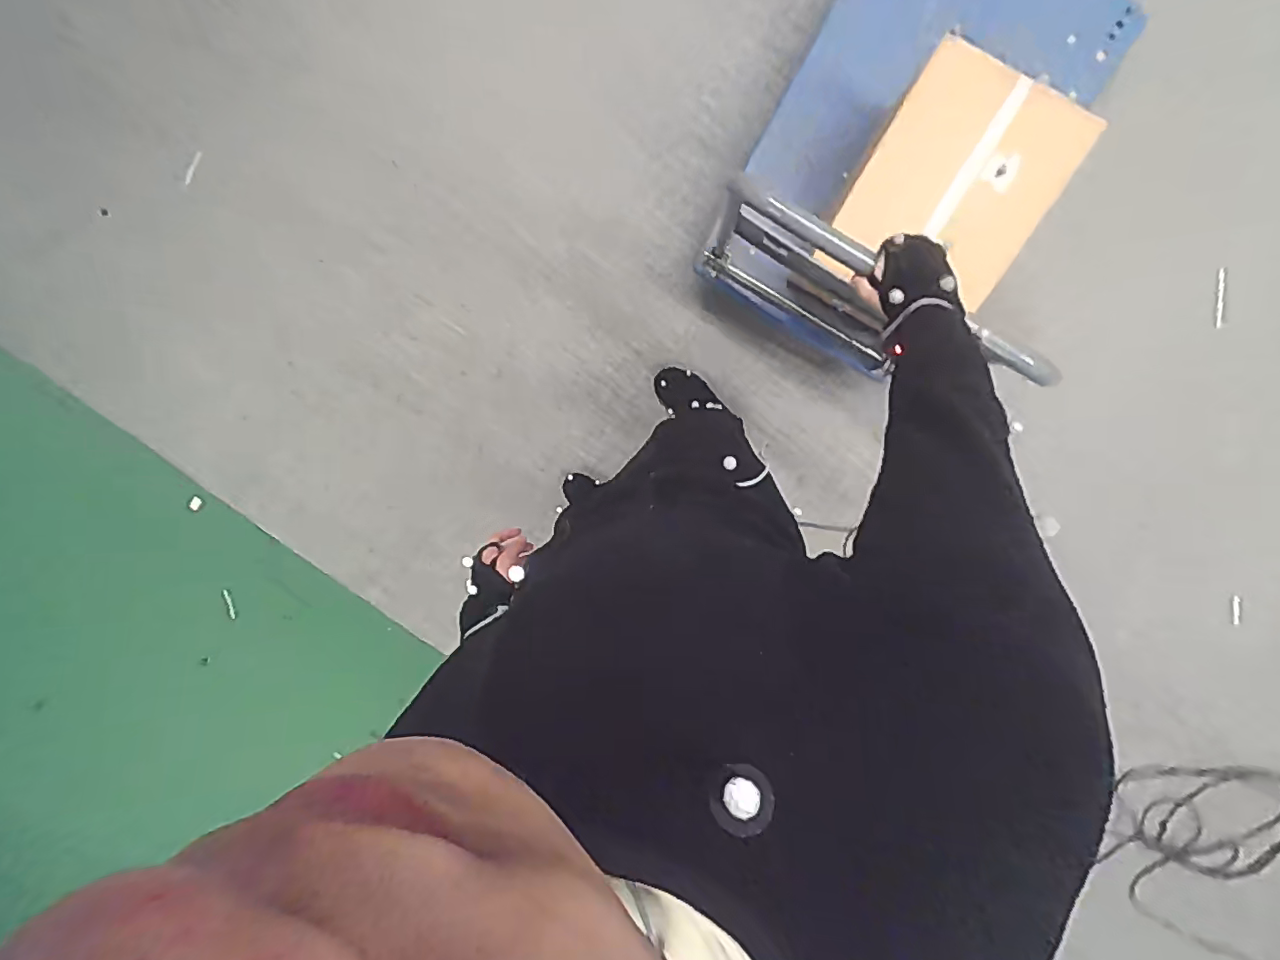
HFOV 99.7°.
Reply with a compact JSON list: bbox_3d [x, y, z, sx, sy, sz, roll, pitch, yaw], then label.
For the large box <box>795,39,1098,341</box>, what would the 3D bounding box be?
[{"bbox_3d":[0.571,-0.538,1.106,0.320,0.320,0.408,29,105,-2],"label":"large box"}]
